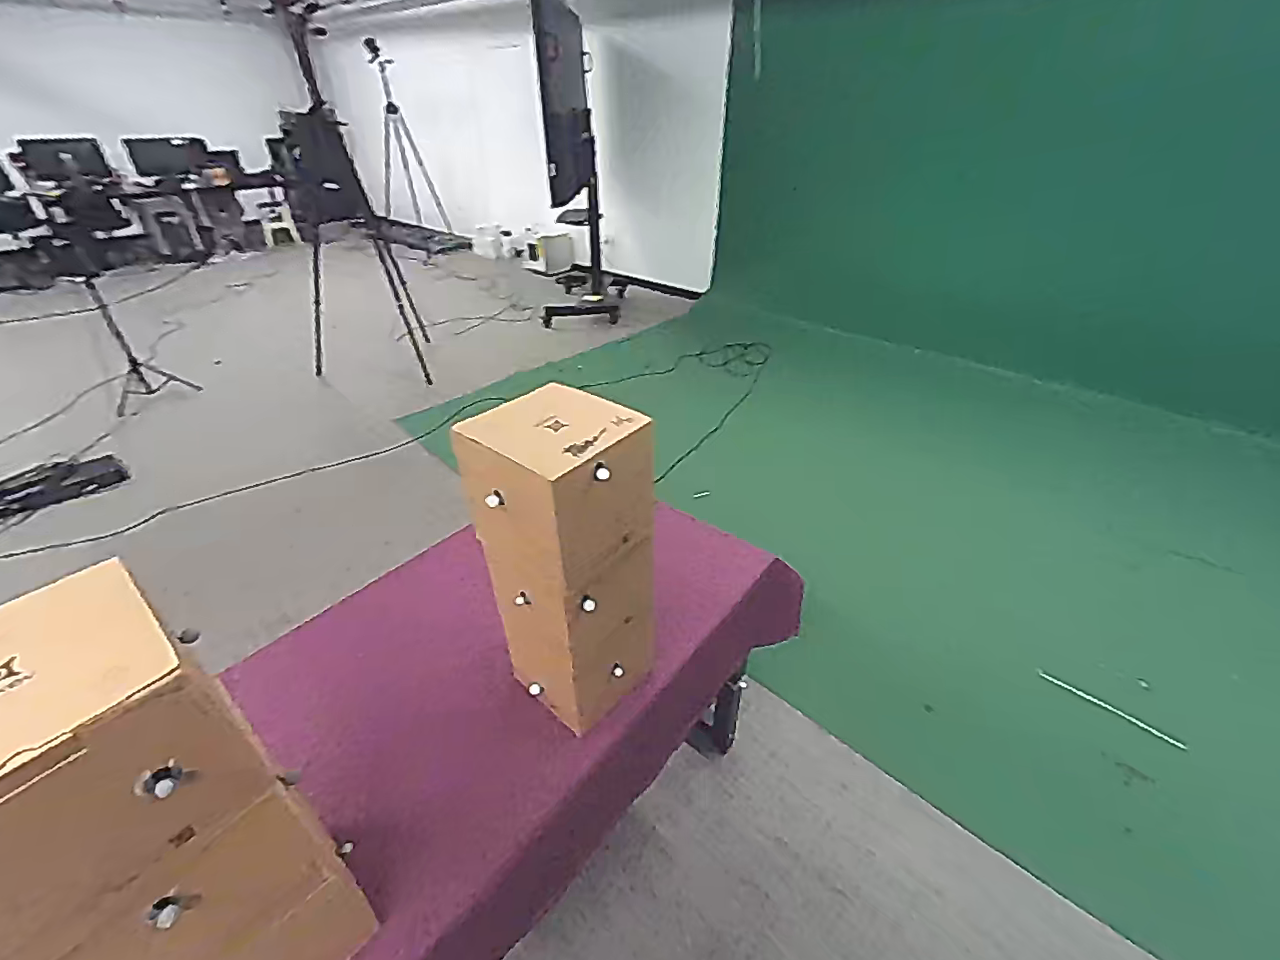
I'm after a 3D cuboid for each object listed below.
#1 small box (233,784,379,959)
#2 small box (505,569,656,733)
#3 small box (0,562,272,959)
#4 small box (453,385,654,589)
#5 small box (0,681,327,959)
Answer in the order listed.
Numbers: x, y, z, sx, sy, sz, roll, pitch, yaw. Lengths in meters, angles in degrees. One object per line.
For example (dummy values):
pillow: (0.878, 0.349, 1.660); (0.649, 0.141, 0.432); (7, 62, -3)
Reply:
small box: (-0.420, 0.470, 0.585); (0.168, 0.176, 0.179); (28, 44, 34)
small box: (-0.091, 0.261, 0.877); (0.168, 0.176, 0.179); (27, 45, 34)
small box: (-0.417, 0.200, 0.401); (0.179, 0.176, 0.168); (25, 42, 33)
small box: (-0.099, 0.004, 0.670); (0.179, 0.176, 0.168); (23, 43, 33)
small box: (-0.419, 0.334, 0.495); (0.168, 0.176, 0.179); (27, 45, 34)
